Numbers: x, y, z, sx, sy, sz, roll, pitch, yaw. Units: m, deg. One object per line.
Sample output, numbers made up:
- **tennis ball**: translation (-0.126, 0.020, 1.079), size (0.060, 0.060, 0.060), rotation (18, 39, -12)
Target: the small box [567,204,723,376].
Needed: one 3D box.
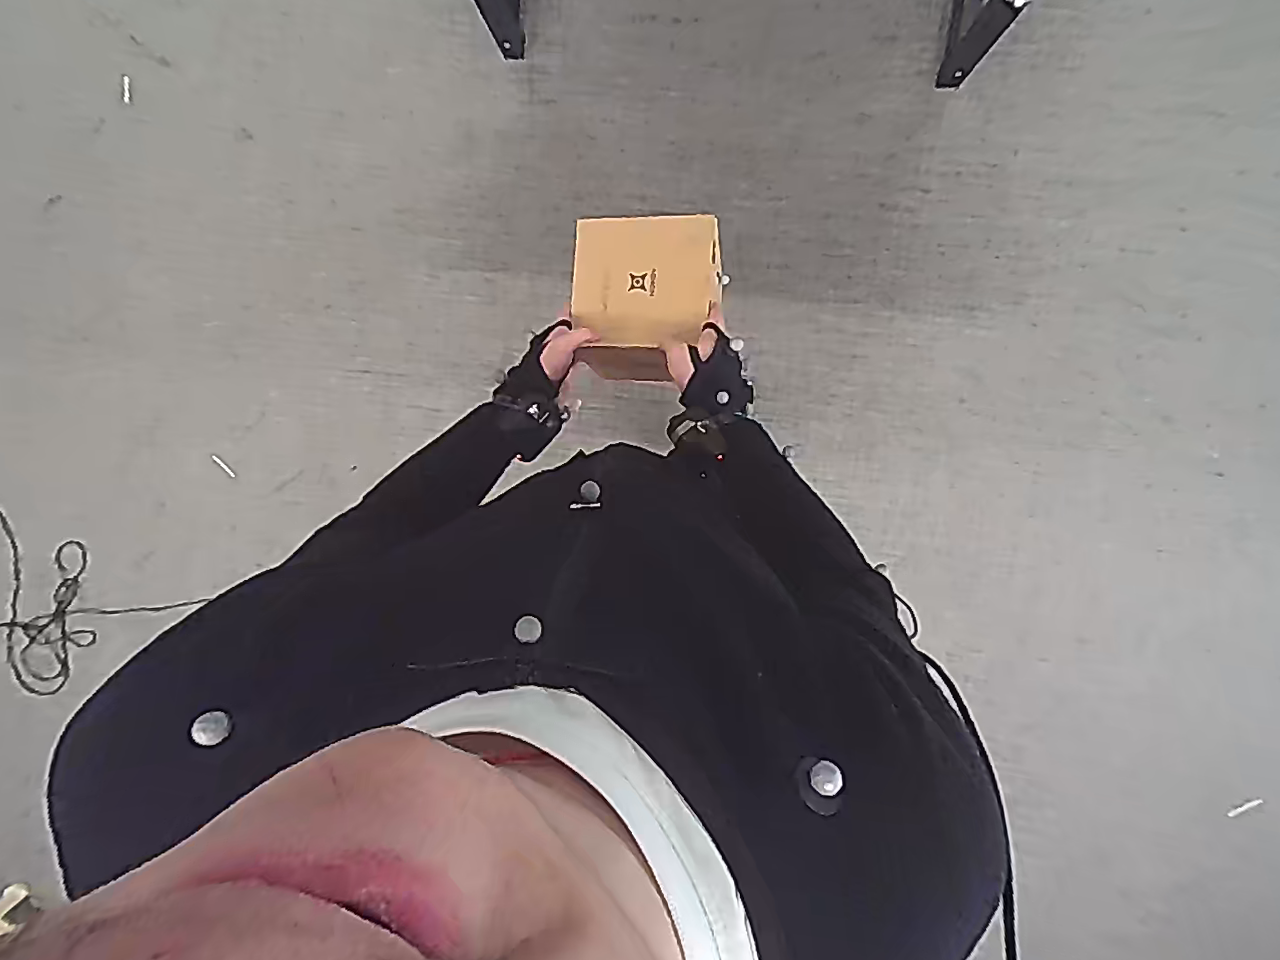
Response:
- **small box**: translation (0.018, -0.242, 0.722), size (0.179, 0.176, 0.168), rotation (5, 86, 10)
